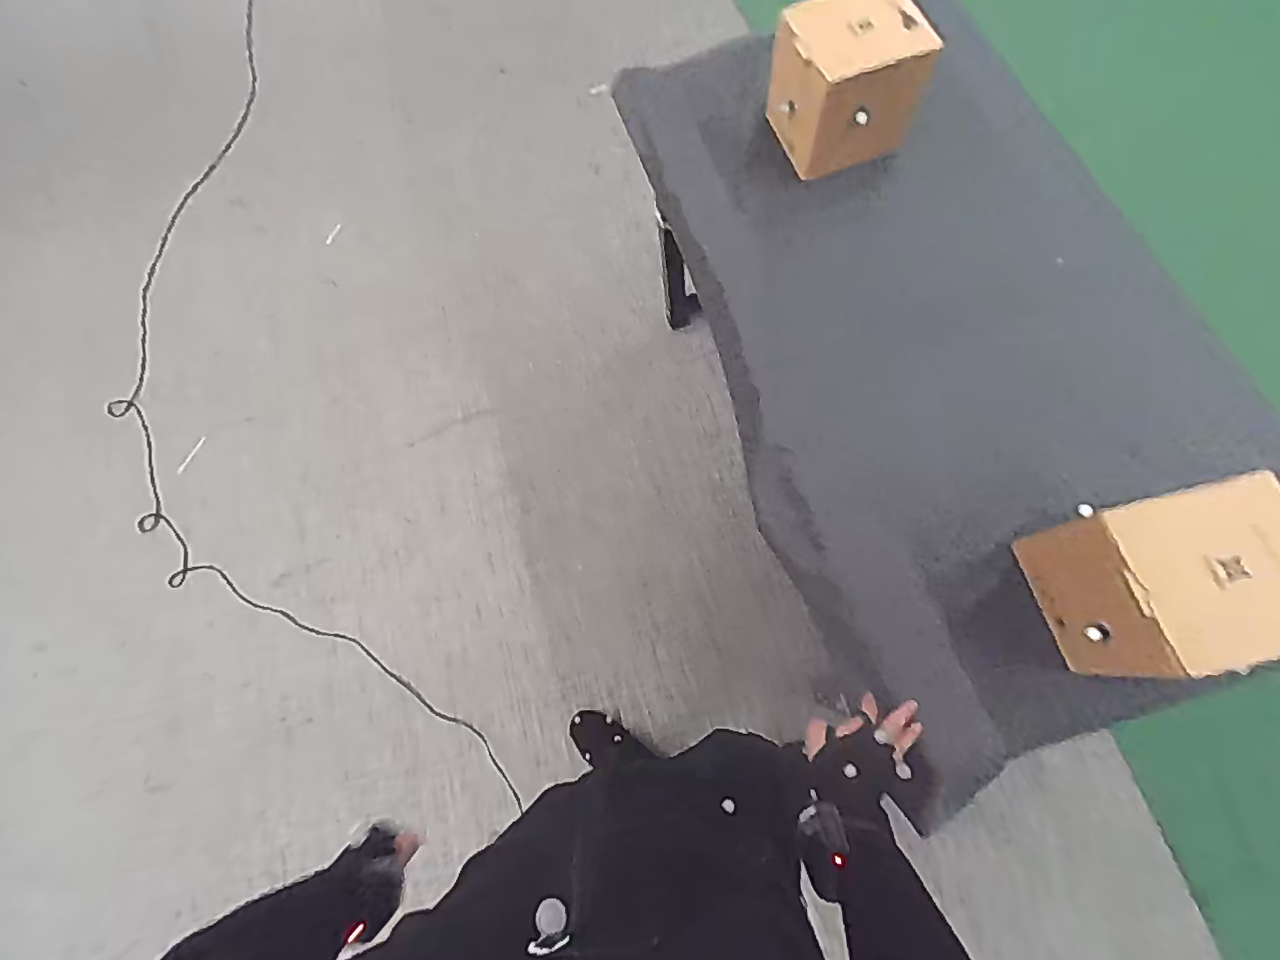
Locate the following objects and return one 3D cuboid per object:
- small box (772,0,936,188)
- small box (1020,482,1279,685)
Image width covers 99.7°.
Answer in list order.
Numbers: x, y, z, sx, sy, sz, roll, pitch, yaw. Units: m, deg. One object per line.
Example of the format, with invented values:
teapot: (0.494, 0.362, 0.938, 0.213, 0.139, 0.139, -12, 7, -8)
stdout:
small box: (0.320, -0.604, 0.857, 0.179, 0.176, 0.168, -19, 72, 0)
small box: (0.568, 0.121, 0.600, 0.179, 0.176, 0.168, -15, 72, 0)
